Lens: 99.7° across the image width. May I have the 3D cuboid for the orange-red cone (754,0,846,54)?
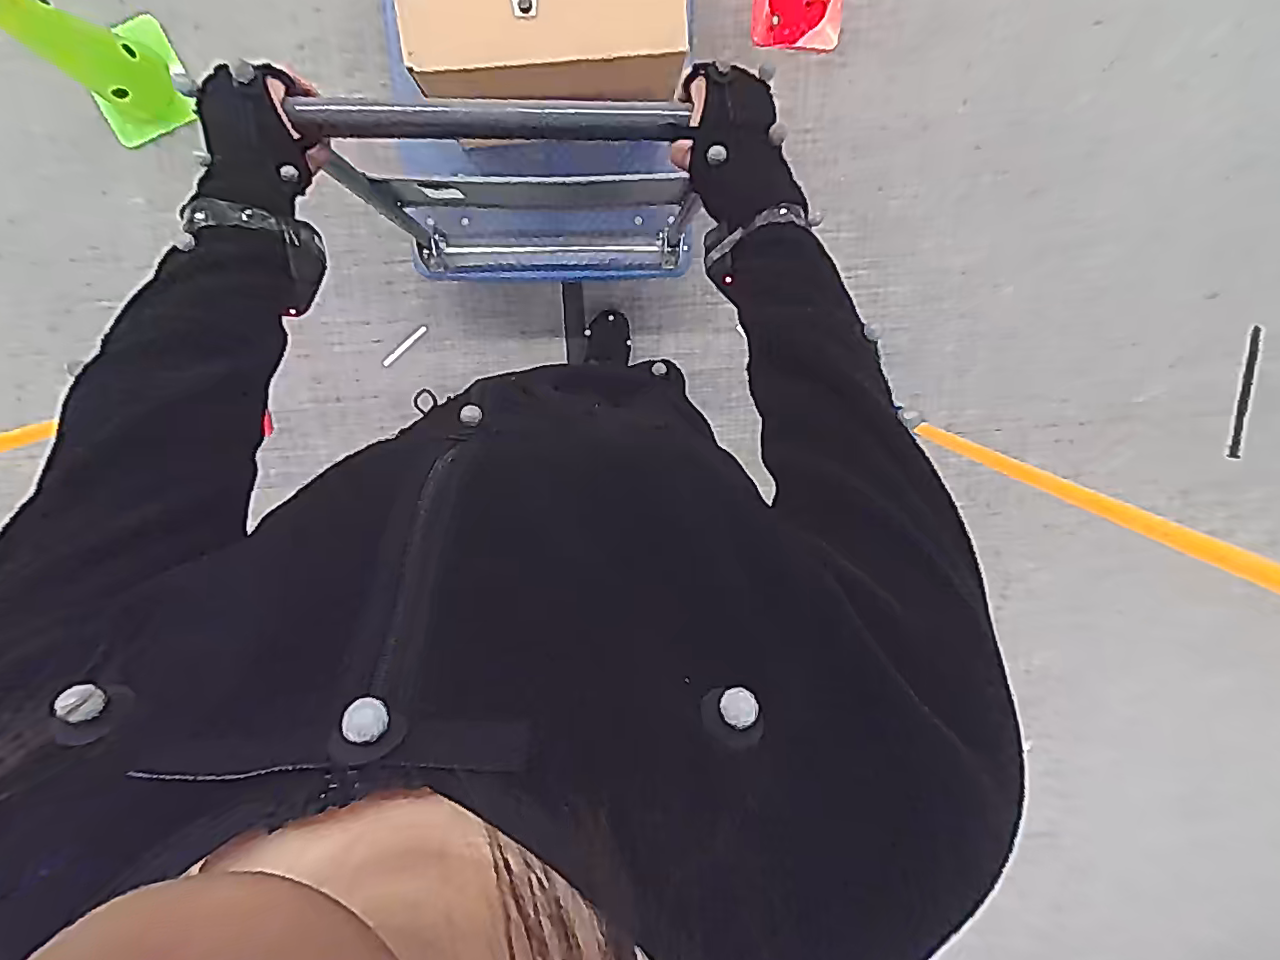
[{"bbox_3d":[0.371,-1.017,1.022,0.199,0.360,0.198,2,104,-6],"label":"orange-red cone"}]
